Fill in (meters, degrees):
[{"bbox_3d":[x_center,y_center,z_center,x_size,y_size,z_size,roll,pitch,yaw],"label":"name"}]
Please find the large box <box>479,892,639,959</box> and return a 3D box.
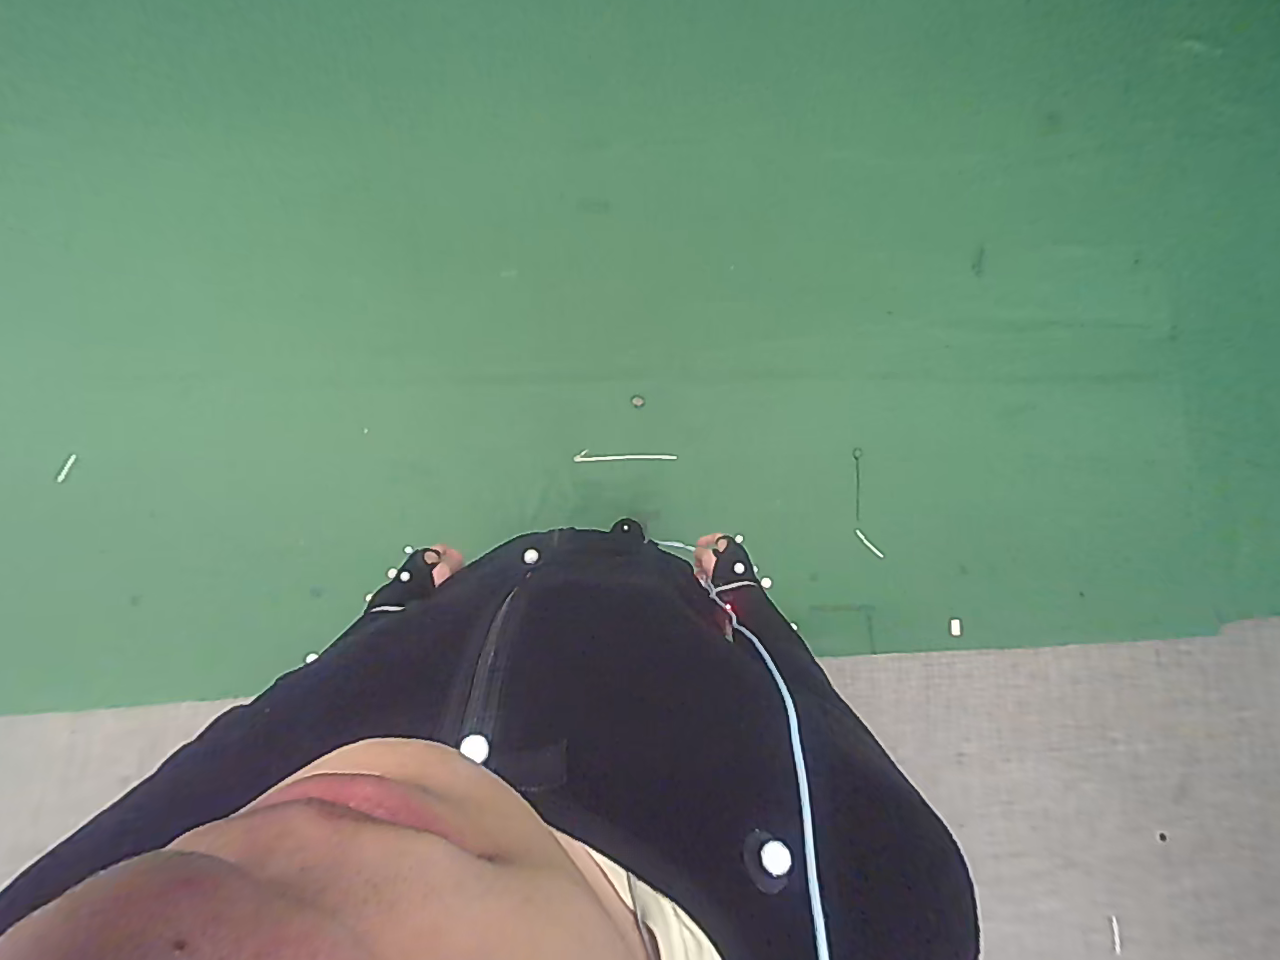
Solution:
[{"bbox_3d":[-0.198,1.338,1.388,0.408,0.320,0.320,-4,85,-5],"label":"large box"}]
